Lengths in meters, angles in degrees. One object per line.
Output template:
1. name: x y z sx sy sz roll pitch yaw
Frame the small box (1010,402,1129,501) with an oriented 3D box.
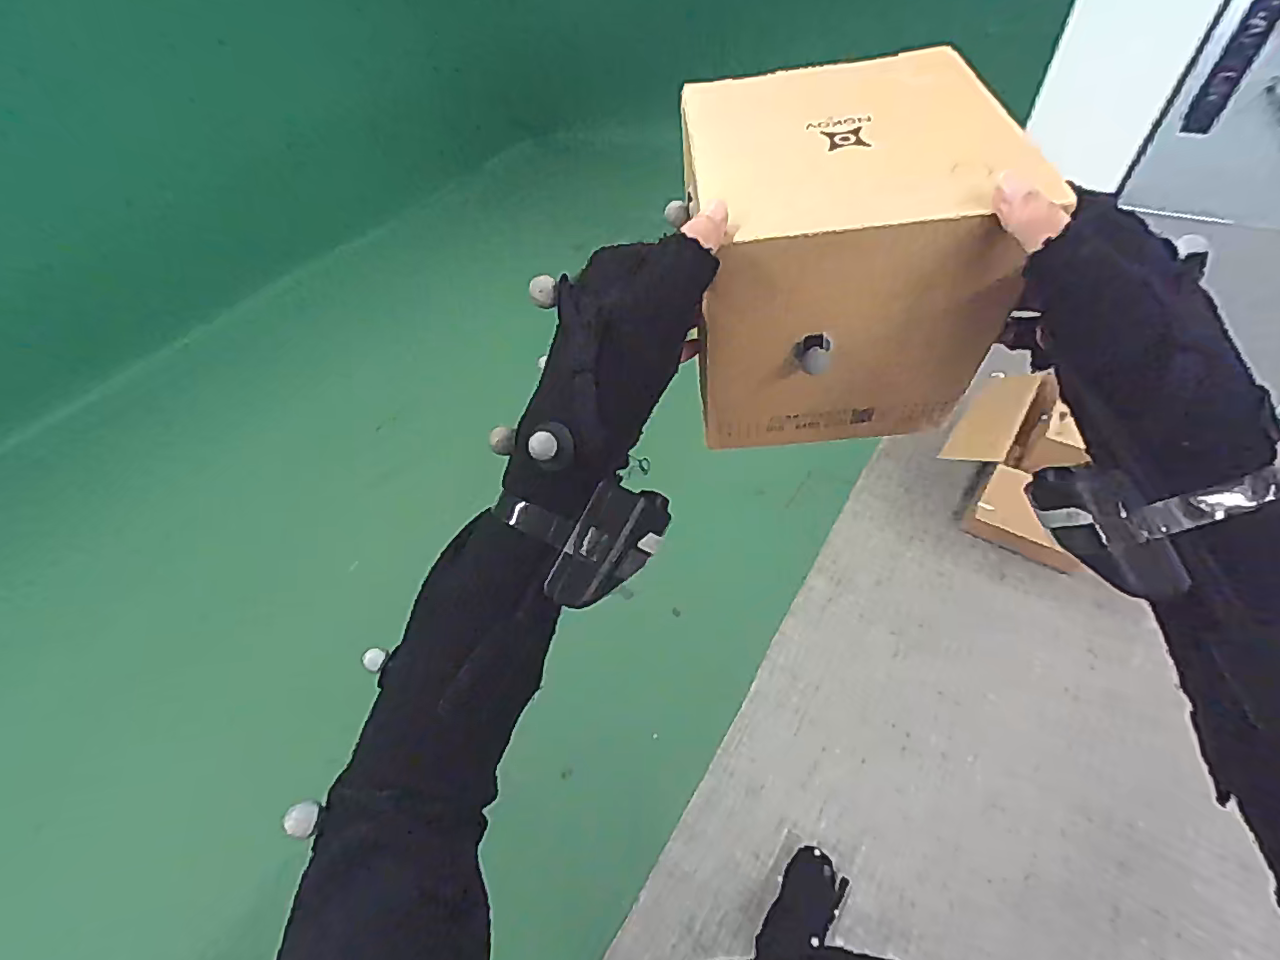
1. small box: 1.130 -0.070 1.430 0.179 0.176 0.168 28 58 22

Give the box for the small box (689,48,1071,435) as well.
1. small box: 0.124 -0.143 0.361 0.168 0.176 0.179 -5 56 5
